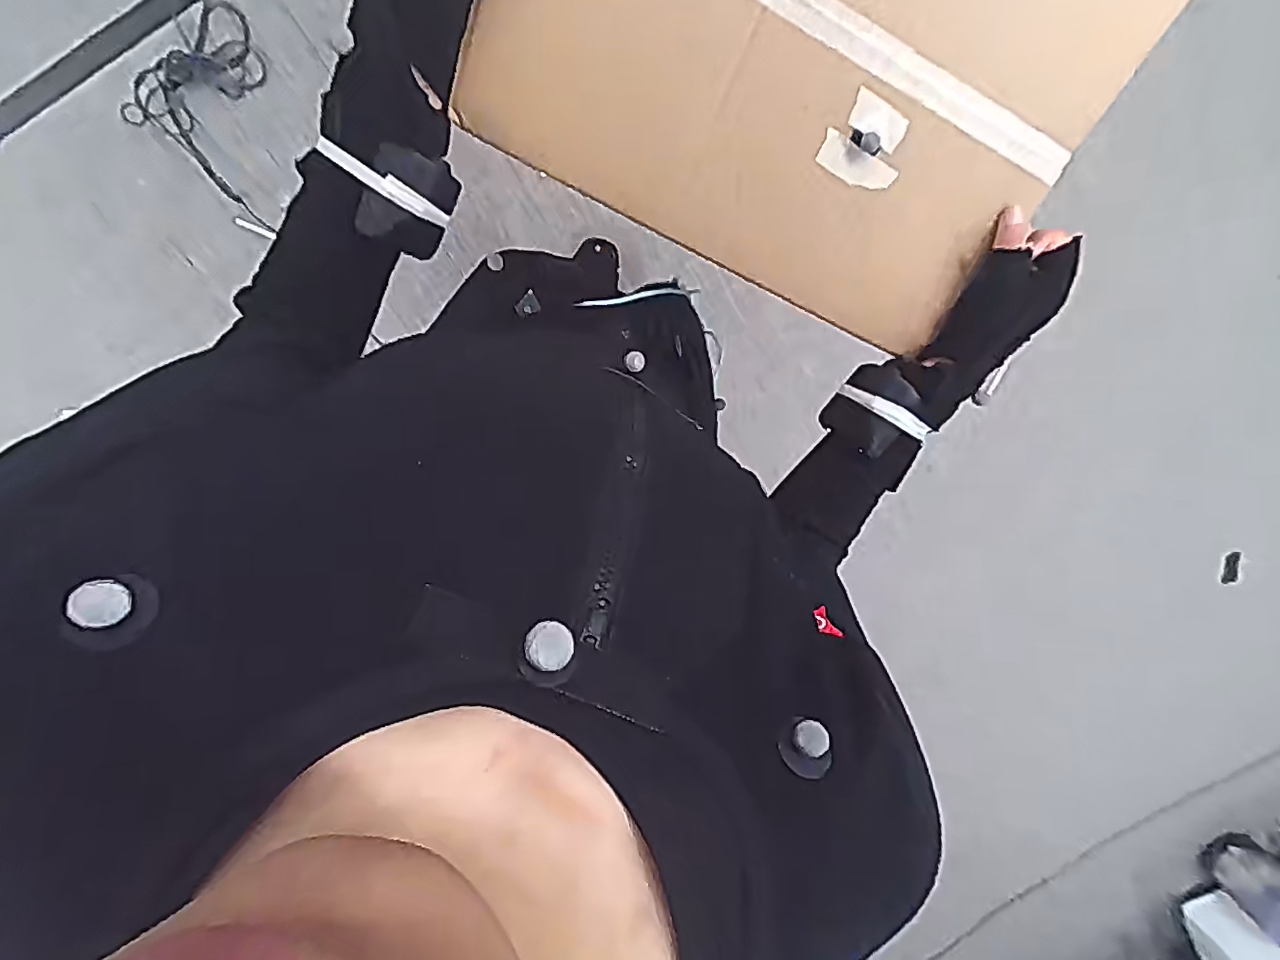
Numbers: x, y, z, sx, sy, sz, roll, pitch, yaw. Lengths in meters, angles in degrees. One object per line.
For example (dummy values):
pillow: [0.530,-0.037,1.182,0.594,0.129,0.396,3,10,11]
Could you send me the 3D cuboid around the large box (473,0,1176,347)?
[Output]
large box: [0.120,-0.377,0.481,0.408,0.320,0.320,23,119,-13]
